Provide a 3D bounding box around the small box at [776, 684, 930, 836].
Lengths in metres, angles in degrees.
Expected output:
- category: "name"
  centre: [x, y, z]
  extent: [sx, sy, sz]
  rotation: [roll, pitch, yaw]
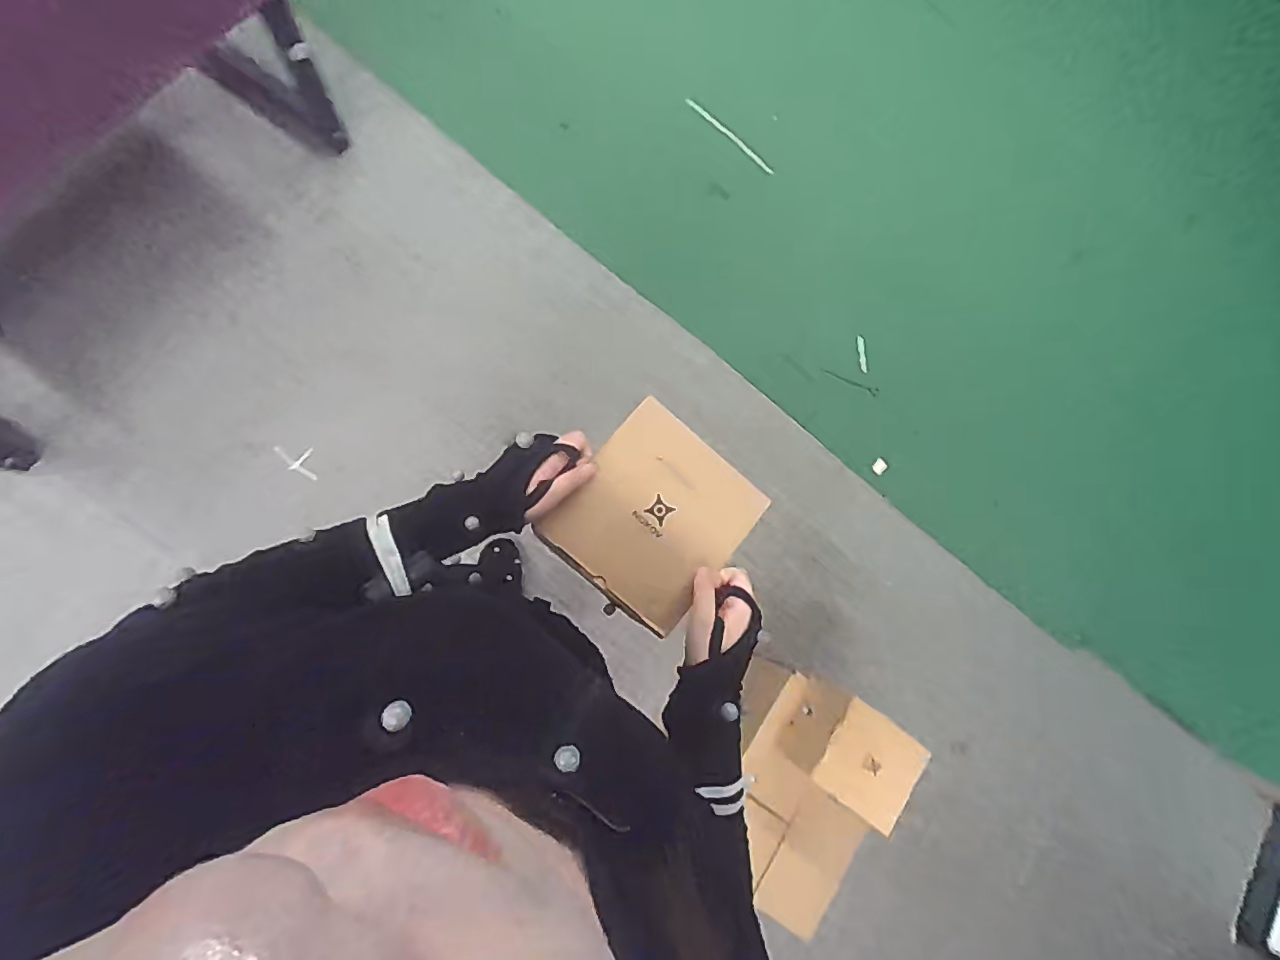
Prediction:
- category: "small box"
  centre: [0.395, 0.516, 1.028]
  extent: [0.179, 0.176, 0.168]
  rotation: [37, 79, -2]
